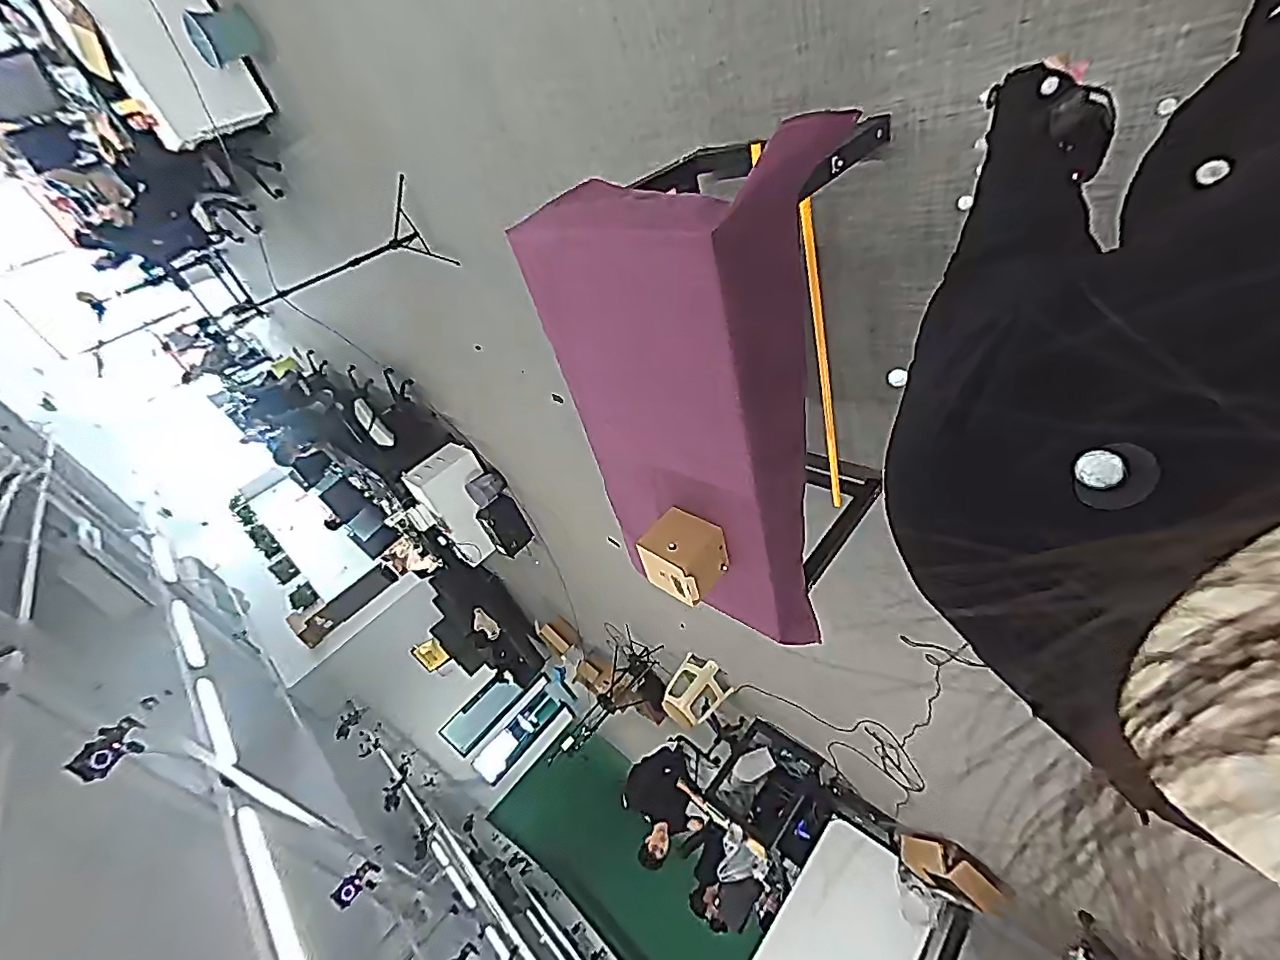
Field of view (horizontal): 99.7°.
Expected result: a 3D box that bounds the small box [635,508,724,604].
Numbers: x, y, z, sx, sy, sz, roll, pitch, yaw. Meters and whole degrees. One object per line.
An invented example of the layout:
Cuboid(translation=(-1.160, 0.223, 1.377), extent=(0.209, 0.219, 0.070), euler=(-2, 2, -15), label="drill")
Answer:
Cuboid(translation=(0.120, 0.204, 1.505), extent=(0.179, 0.176, 0.168), euler=(24, 144, 39), label="small box")
